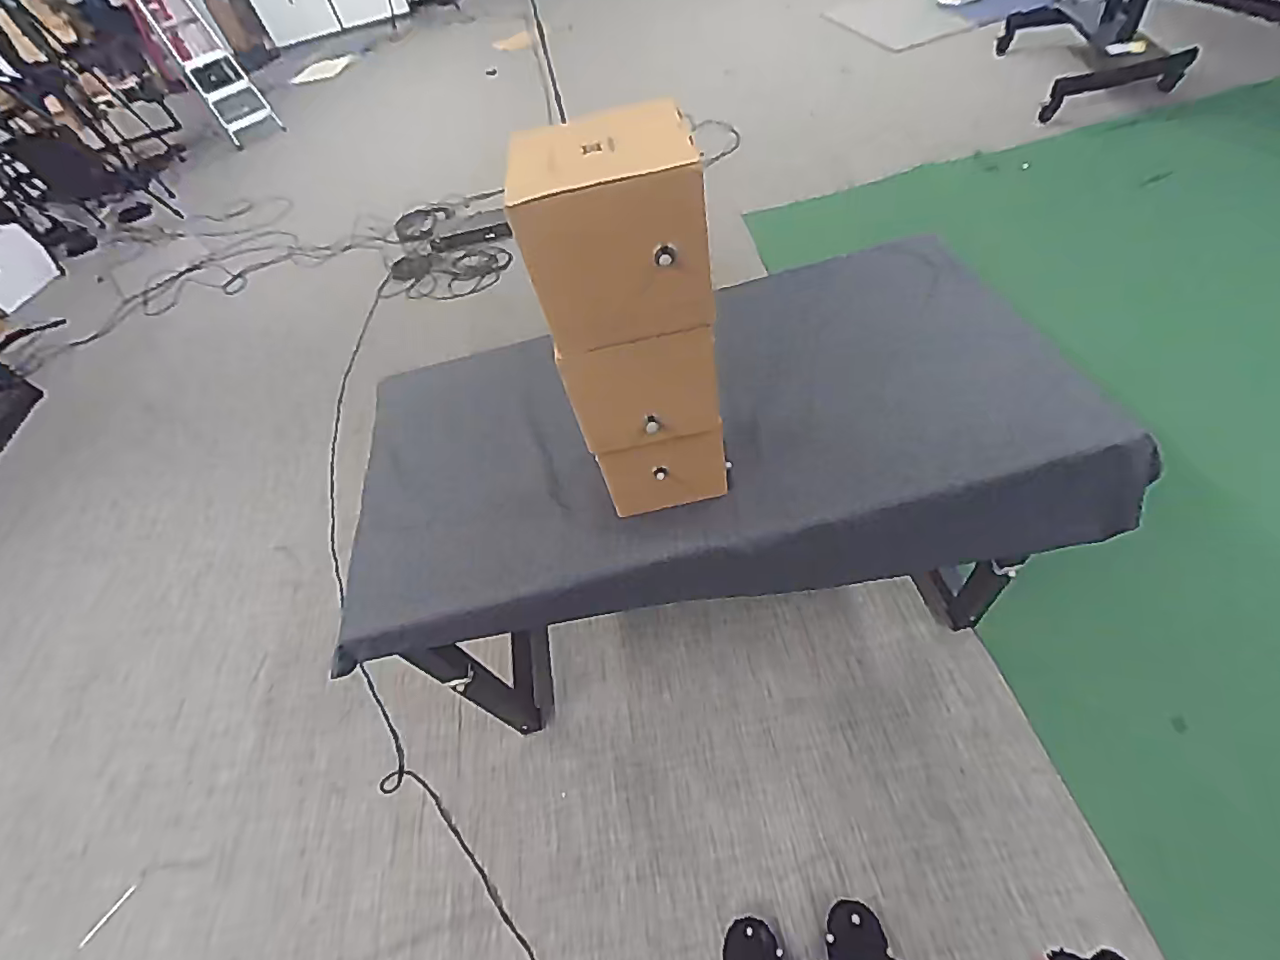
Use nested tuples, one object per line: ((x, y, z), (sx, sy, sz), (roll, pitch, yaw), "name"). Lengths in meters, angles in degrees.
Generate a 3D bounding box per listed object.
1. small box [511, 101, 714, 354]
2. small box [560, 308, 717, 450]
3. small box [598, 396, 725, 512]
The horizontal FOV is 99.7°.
((-0.021, -0.261, 0.574), (0.179, 0.176, 0.168), (-12, 50, 5), "small box")
((0.000, -0.163, 0.703), (0.179, 0.176, 0.168), (-12, 51, 3), "small box")
((0.031, -0.073, 0.835), (0.179, 0.176, 0.168), (-13, 51, 4), "small box")
